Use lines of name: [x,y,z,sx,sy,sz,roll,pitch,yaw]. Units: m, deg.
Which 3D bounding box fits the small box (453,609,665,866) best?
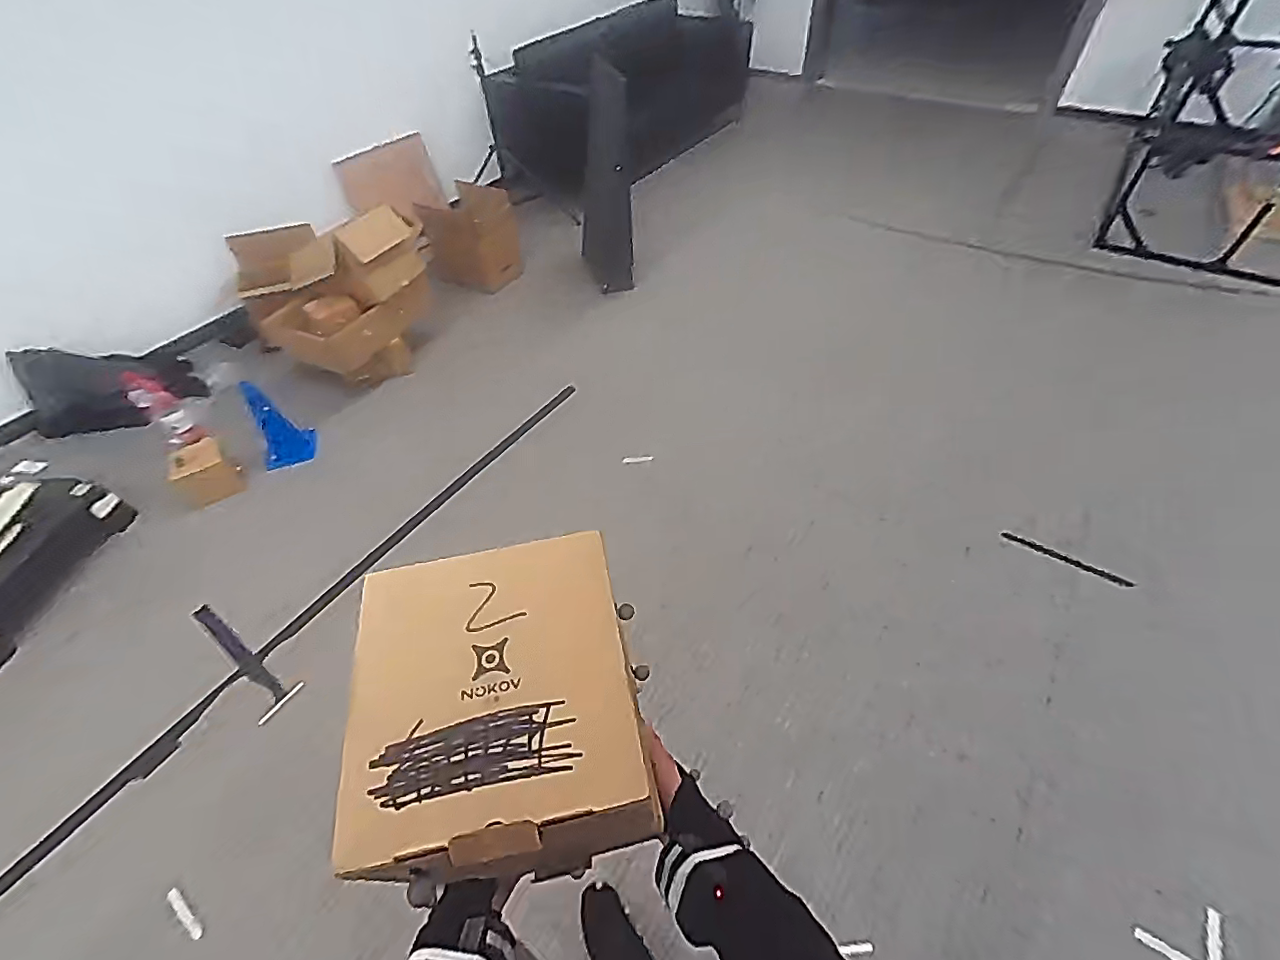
small box: [-0.075,0.253,0.527,0.168,0.176,0.179,-11,54,-6]
